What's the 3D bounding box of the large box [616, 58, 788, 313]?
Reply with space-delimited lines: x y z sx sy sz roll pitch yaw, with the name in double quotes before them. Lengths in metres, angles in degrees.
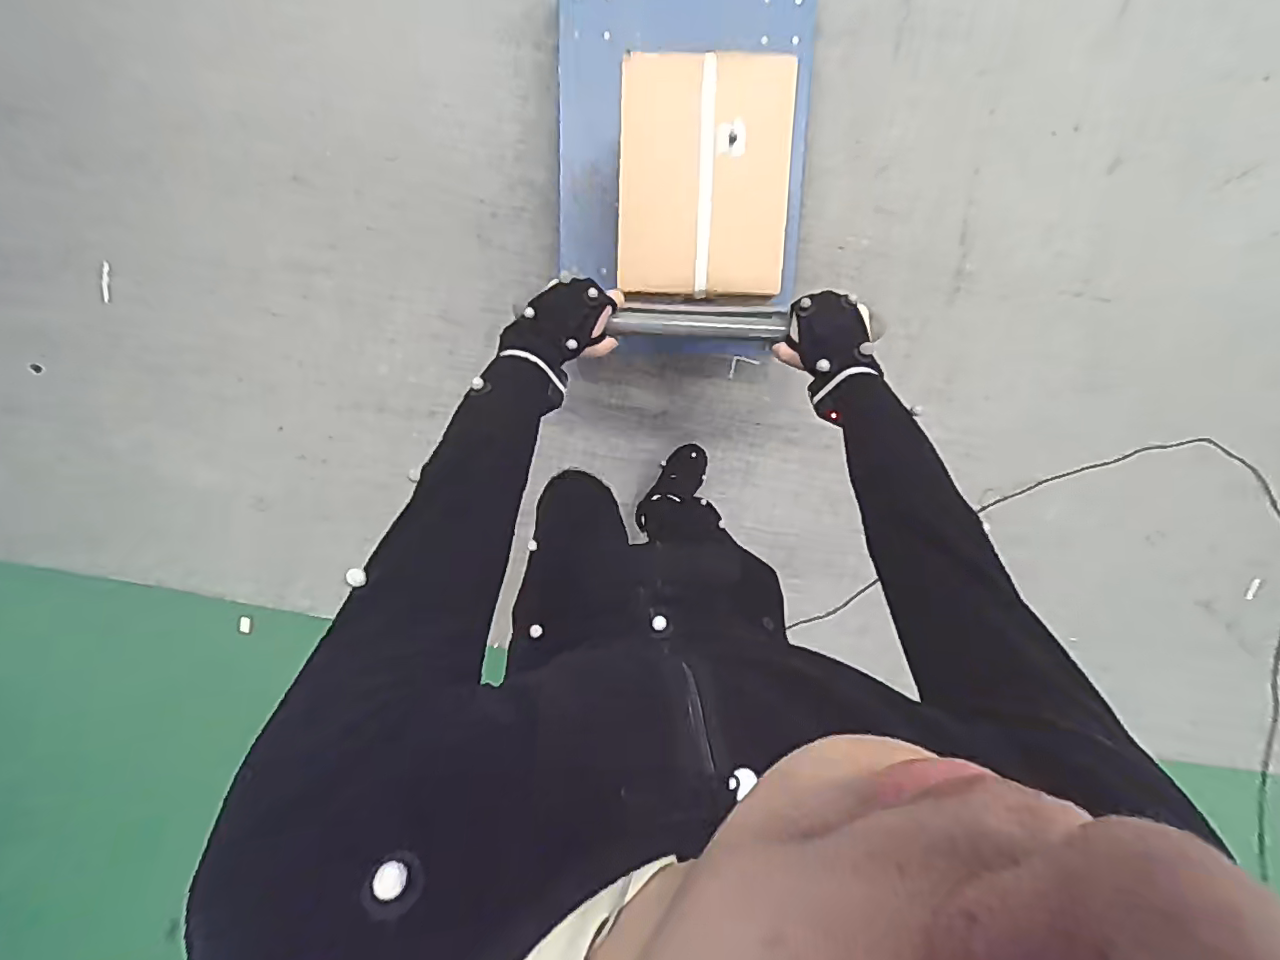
"large box" 0.115 -0.581 1.146 0.320 0.320 0.408 1 99 0
